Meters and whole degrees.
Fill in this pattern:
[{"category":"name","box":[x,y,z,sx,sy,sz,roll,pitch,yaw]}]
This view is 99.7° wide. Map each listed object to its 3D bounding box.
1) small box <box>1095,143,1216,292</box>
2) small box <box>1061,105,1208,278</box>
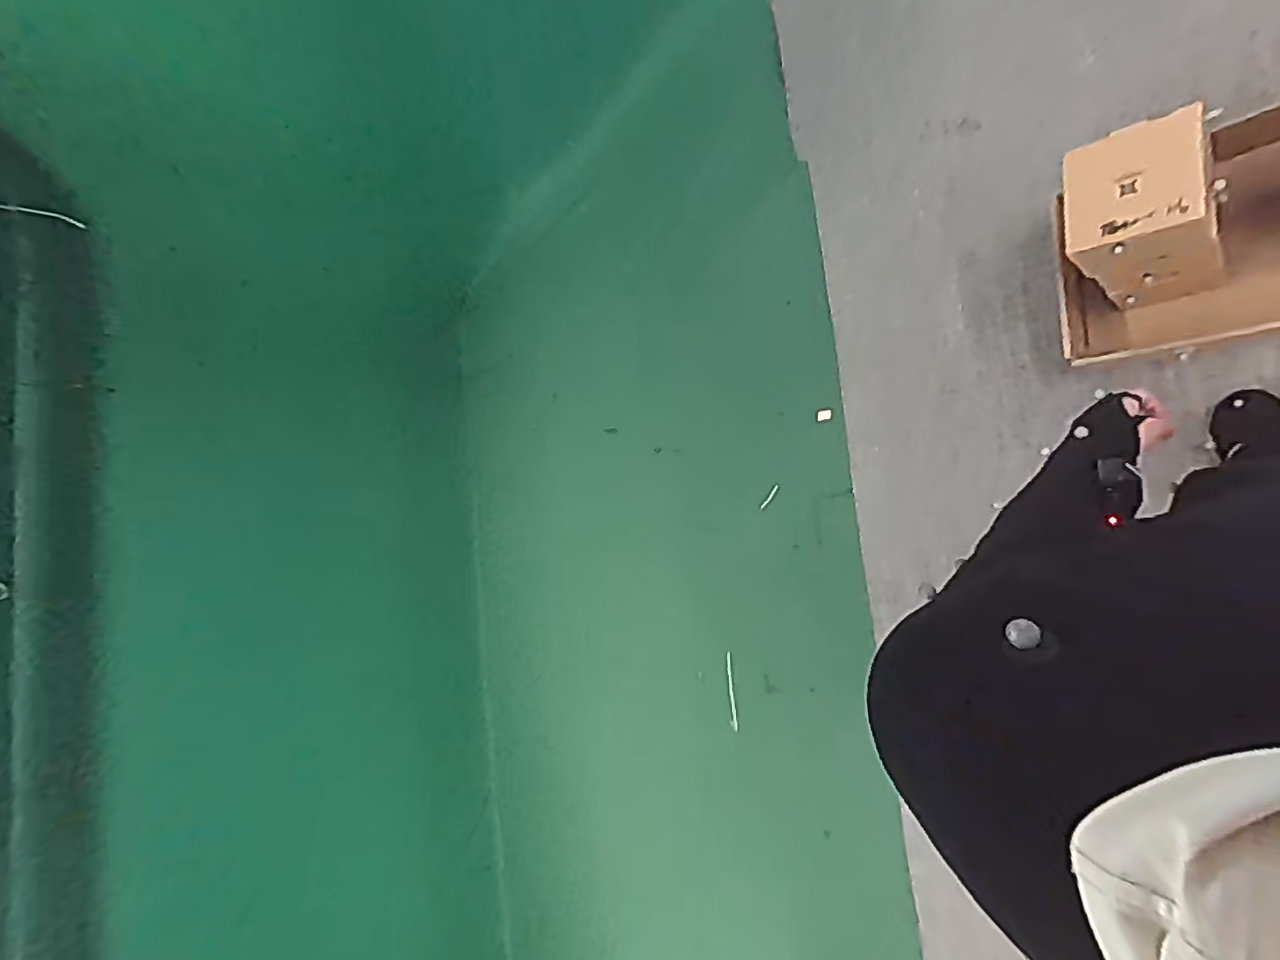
[{"category":"small box","box":[0.948,-0.476,1.010,0.168,0.176,0.179,-6,85,49]},{"category":"small box","box":[0.824,-0.464,0.903,0.168,0.176,0.179,-2,88,49]}]
